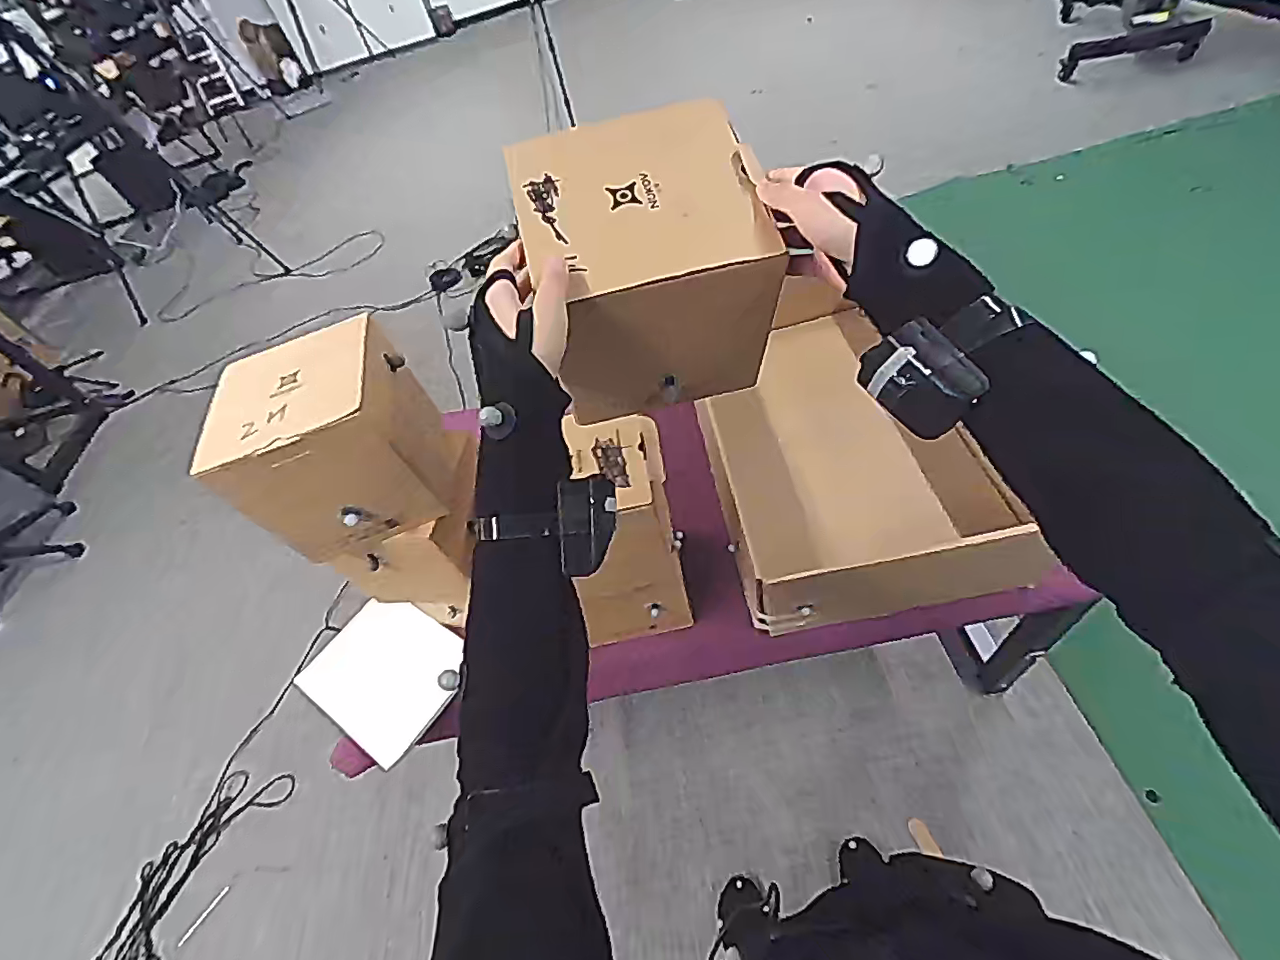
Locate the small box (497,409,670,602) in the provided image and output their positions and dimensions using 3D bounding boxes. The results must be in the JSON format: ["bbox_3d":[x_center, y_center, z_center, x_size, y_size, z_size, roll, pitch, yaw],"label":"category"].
[{"bbox_3d":[-0.062,0.032,0.680,0.179,0.176,0.168,-13,49,4],"label":"small box"}]

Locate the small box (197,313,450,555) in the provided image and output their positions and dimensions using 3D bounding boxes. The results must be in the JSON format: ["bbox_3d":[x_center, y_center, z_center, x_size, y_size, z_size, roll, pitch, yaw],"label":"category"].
[{"bbox_3d":[-0.329,-0.048,0.603,0.168,0.176,0.179,-21,51,0],"label":"small box"}]

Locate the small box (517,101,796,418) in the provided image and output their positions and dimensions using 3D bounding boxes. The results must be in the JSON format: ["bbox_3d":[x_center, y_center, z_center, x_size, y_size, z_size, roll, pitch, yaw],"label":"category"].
[{"bbox_3d":[0.009,-0.175,0.463,0.179,0.176,0.168,-13,67,-2],"label":"small box"}]
